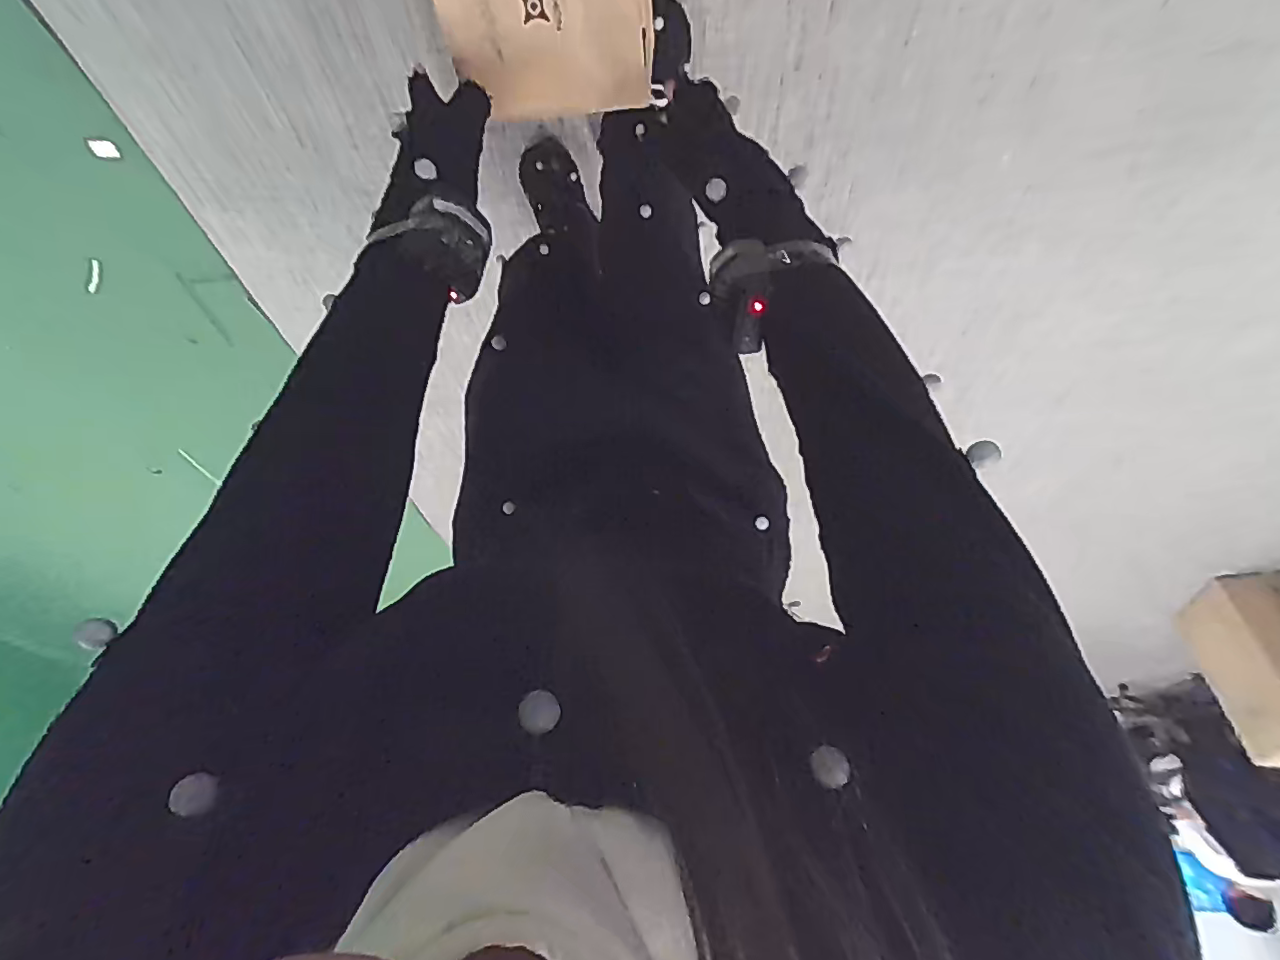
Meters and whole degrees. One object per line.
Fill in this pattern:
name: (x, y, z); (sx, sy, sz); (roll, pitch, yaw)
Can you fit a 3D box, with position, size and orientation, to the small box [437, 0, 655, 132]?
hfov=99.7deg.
small box: (-0.078, -0.456, 0.504); (0.179, 0.176, 0.168); (-1, 143, 7)
